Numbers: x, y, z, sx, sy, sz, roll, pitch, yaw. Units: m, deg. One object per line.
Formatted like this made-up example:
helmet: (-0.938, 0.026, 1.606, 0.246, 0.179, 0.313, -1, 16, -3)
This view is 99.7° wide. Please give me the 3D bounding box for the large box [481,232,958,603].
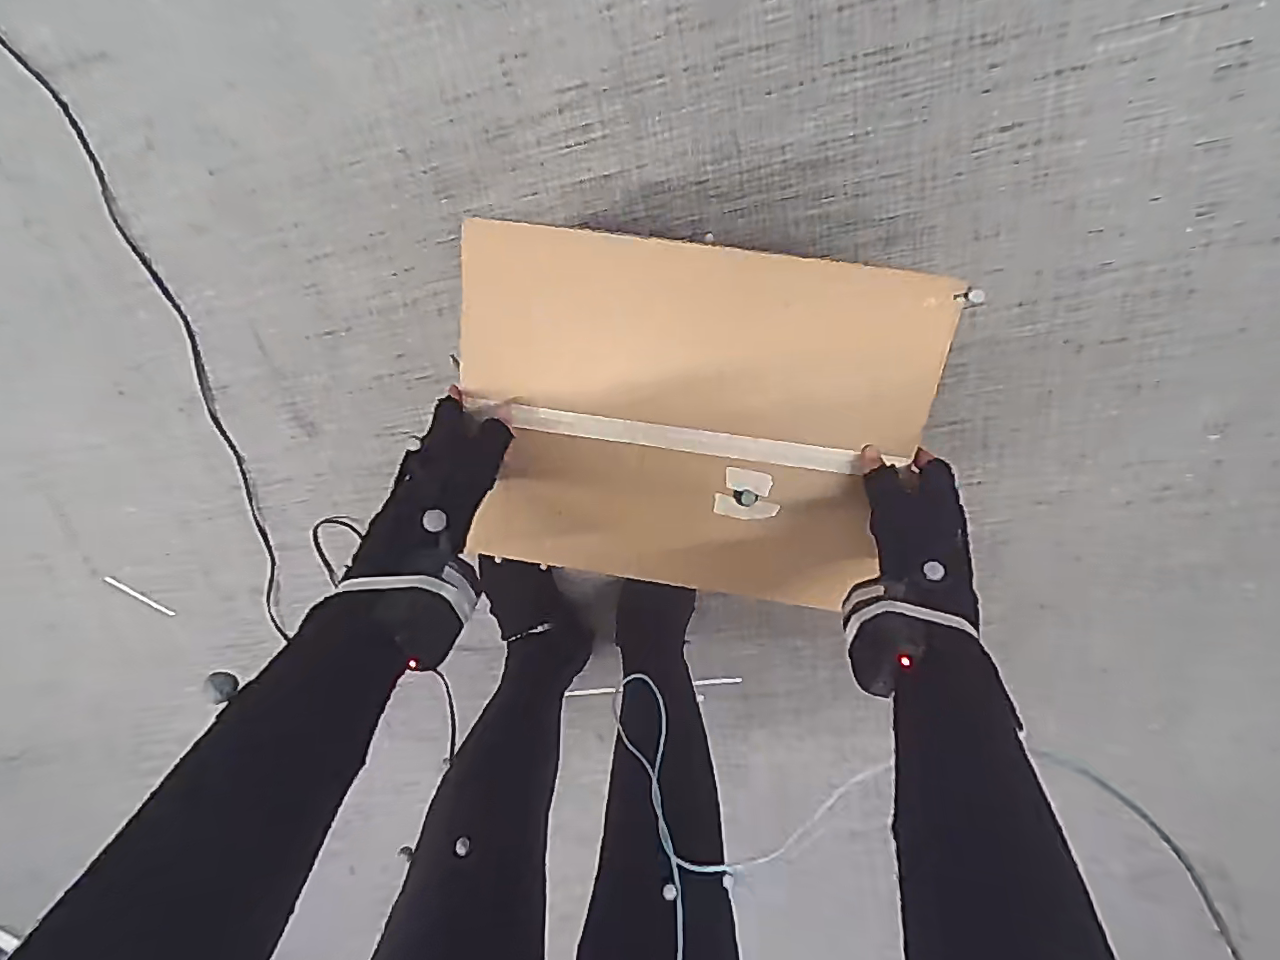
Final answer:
large box: (0.059, -0.092, 0.637, 0.408, 0.320, 0.320, 8, 112, 2)
